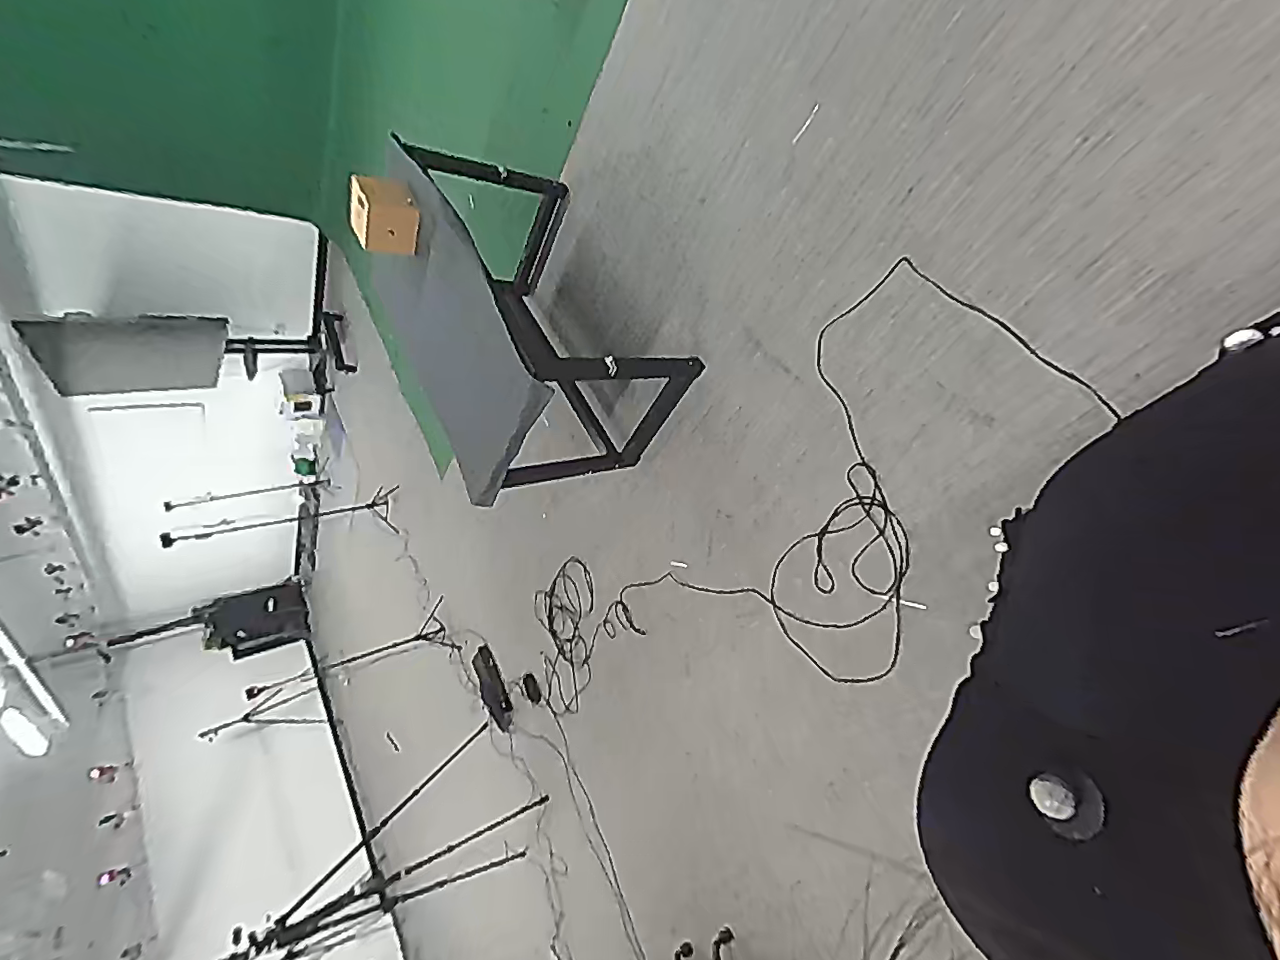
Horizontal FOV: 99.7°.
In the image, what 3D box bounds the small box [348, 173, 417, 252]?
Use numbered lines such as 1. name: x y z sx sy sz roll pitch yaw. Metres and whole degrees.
1. small box: -0.879 -0.908 1.849 0.168 0.176 0.179 57 137 21
